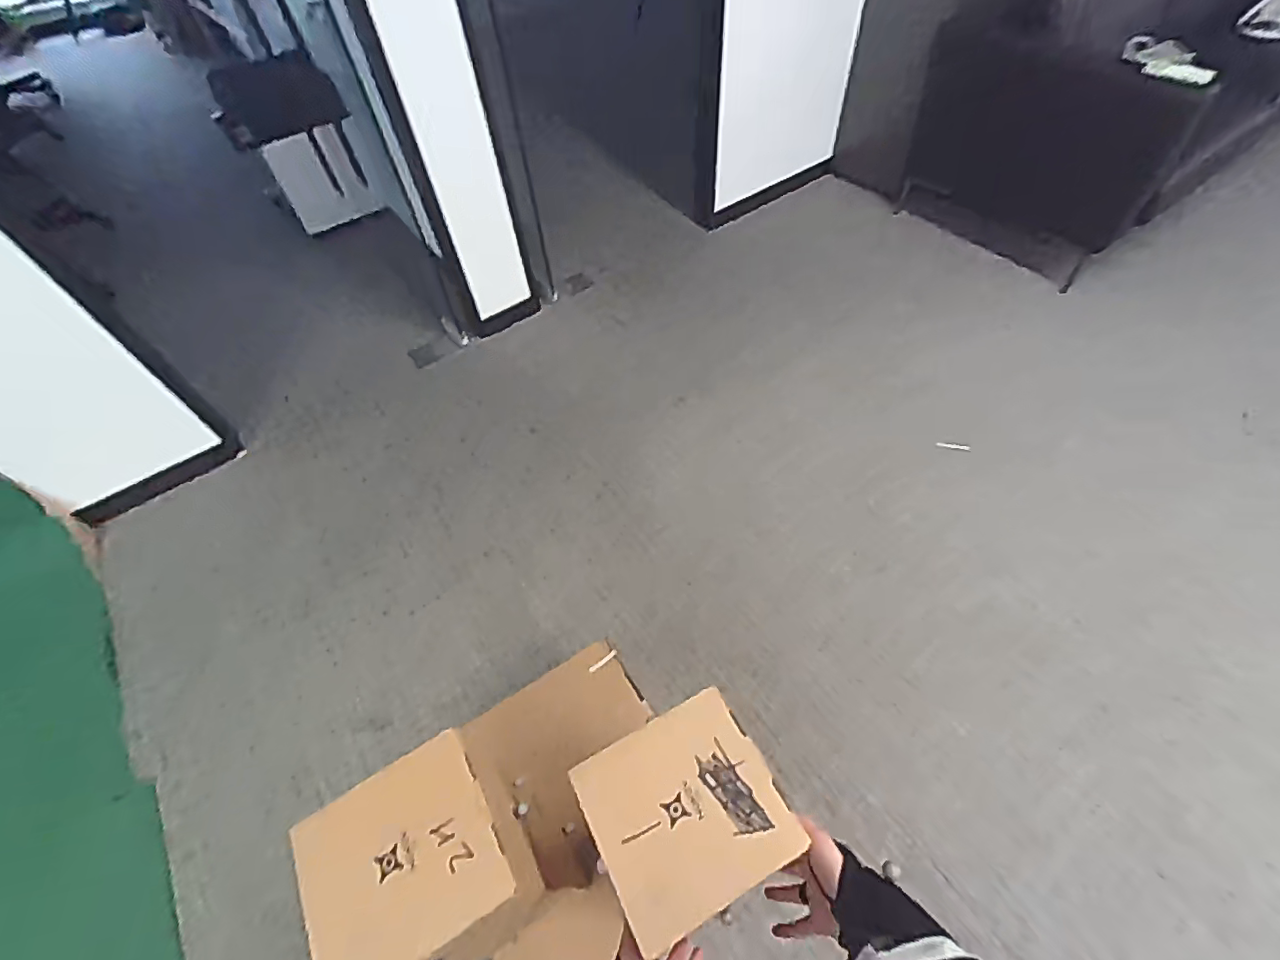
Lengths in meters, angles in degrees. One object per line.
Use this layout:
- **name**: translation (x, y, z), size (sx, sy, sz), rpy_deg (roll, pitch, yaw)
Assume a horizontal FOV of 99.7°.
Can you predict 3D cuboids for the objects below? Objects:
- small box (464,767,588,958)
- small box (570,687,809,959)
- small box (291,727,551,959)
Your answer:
- **small box**: translation (-0.197, 0.586, 0.836), size (0.168, 0.176, 0.179), rpy_deg (-27, 55, -14)
- **small box**: translation (0.047, 0.355, 0.575), size (0.179, 0.176, 0.168), rpy_deg (-26, 55, -13)
- **small box**: translation (-0.217, 0.398, 0.565), size (0.179, 0.176, 0.168), rpy_deg (-29, 56, -15)
